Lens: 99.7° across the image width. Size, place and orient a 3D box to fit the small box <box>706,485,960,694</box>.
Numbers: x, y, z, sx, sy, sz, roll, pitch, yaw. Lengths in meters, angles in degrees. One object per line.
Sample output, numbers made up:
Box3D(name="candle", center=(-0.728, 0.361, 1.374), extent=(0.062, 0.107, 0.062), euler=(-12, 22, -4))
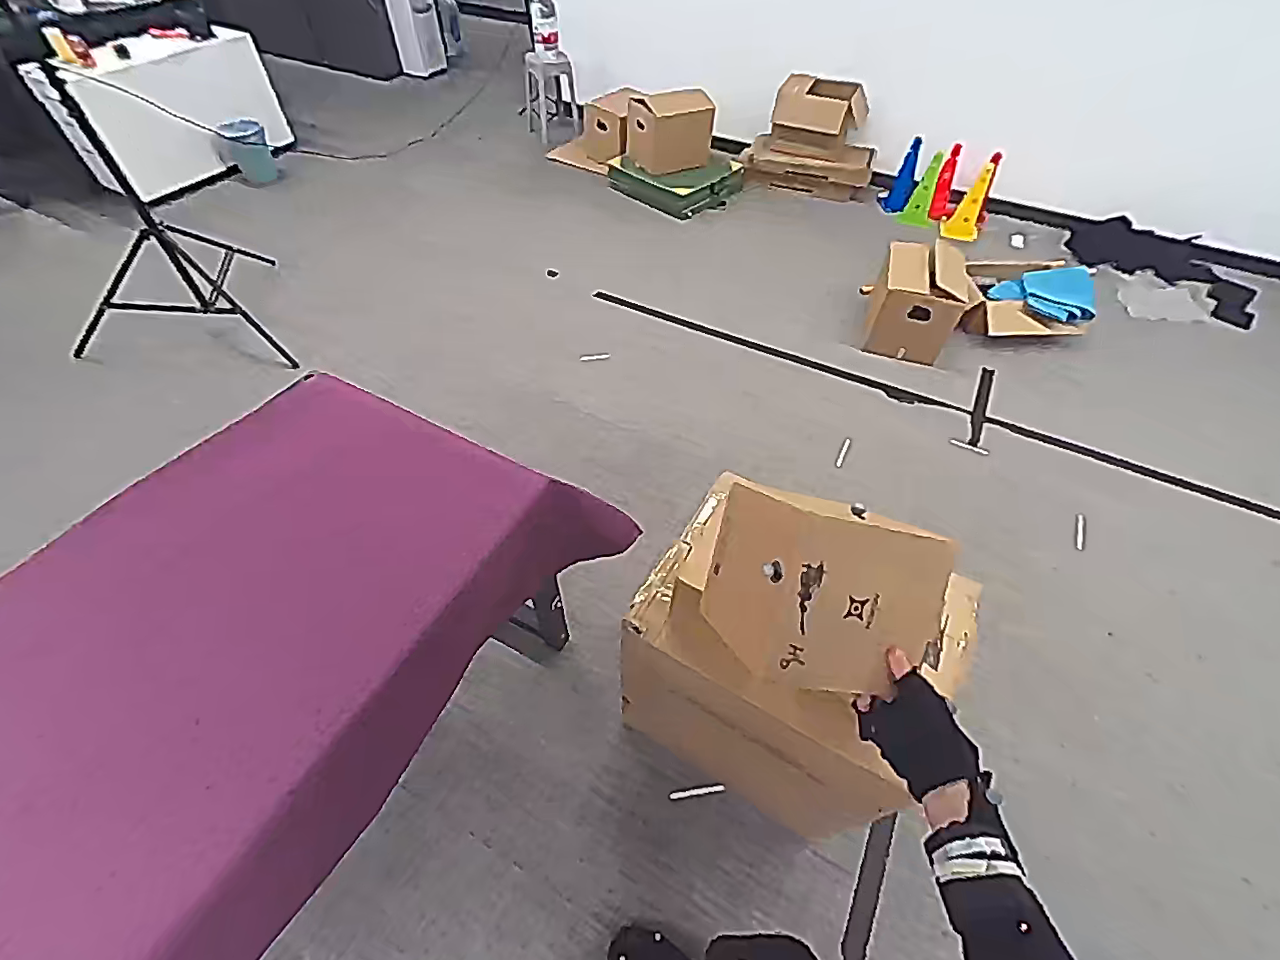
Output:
Box3D(name="small box", center=(0.195, 0.108, 0.591), extent=(0.179, 0.168, 0.176), euler=(13, 5, -15))

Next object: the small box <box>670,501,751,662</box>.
Box3D(name="small box", center=(0.161, 0.171, 0.883), extent=(0.179, 0.176, 0.168), euler=(25, 56, 15))

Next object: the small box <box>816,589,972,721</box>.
Box3D(name="small box", center=(0.365, 0.244, 0.829), extent=(0.179, 0.176, 0.168), euler=(26, 55, 20))
